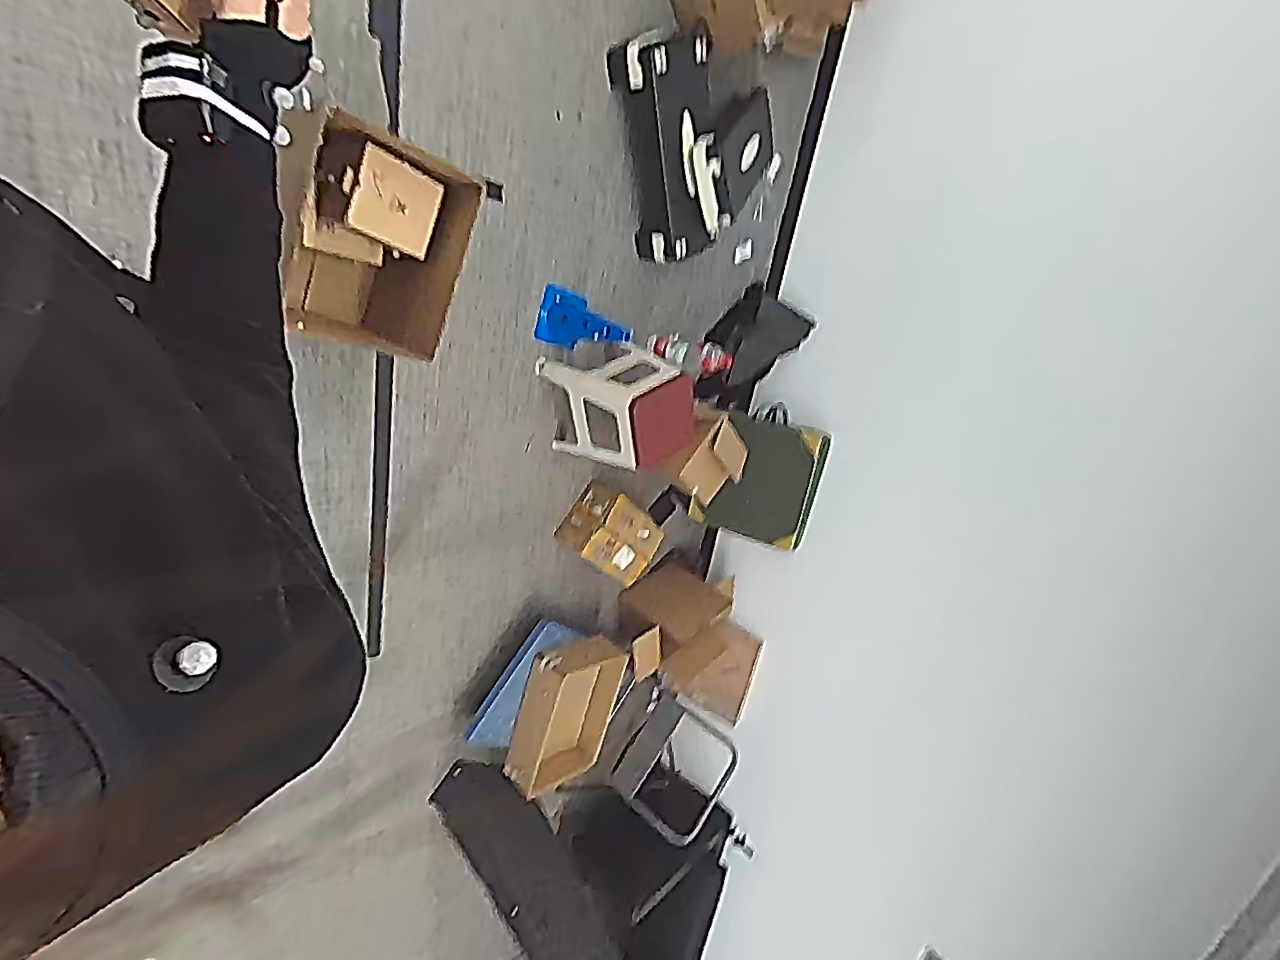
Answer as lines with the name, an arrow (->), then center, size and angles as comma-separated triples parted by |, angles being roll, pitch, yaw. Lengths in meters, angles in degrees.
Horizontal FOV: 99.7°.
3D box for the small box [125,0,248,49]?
small box -> -0.428, -0.521, 0.476 | 0.179, 0.176, 0.168 | -53, 143, -2
